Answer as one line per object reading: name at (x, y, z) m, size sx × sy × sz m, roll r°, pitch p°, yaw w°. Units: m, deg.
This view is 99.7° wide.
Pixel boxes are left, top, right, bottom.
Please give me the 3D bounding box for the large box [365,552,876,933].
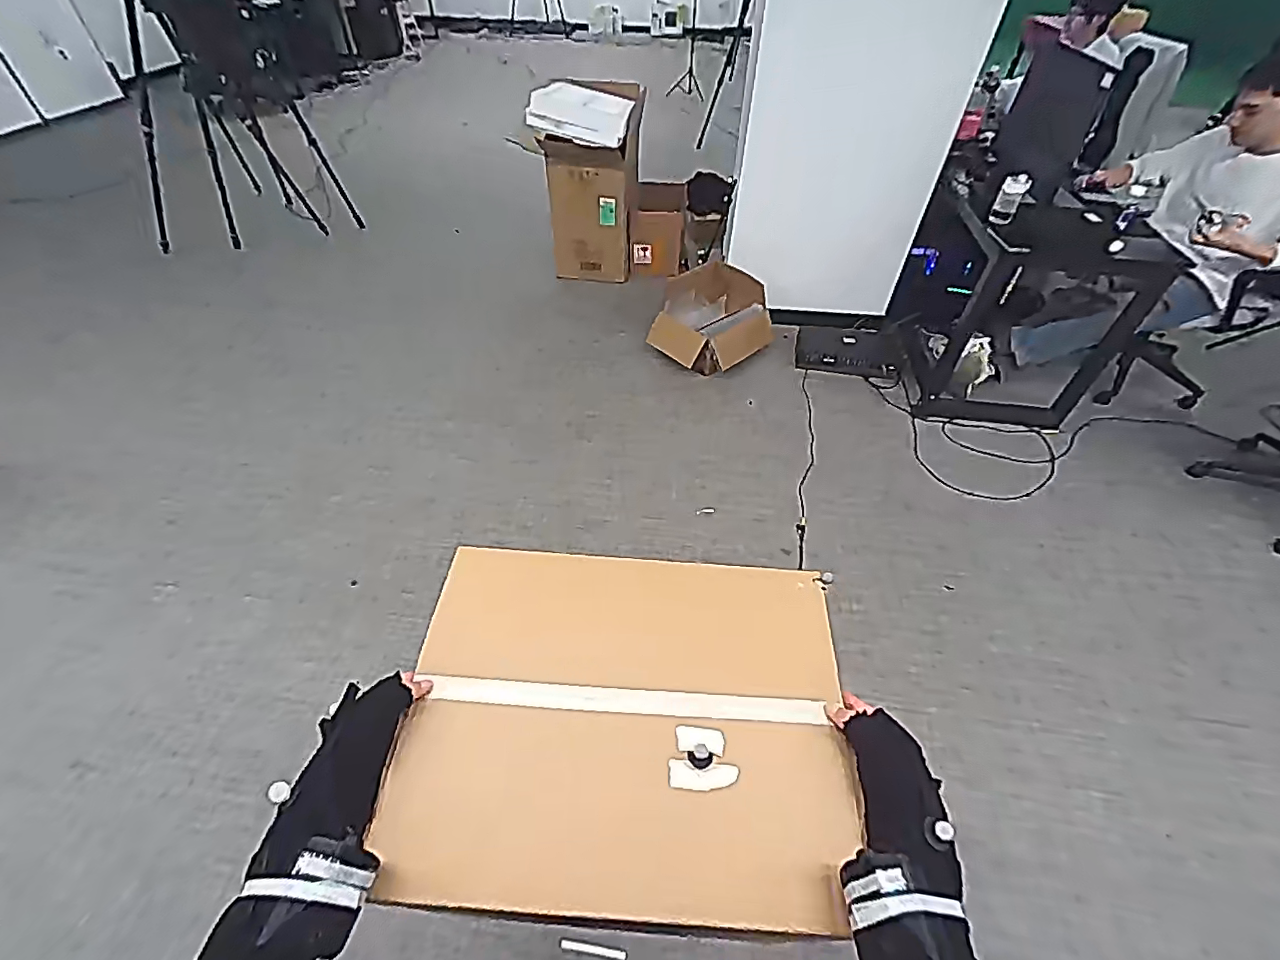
large box at (-0.016, 0.306, 0.621) m, size 0.408 × 0.320 × 0.320 m, roll 4°, pitch 49°, yaw 0°
